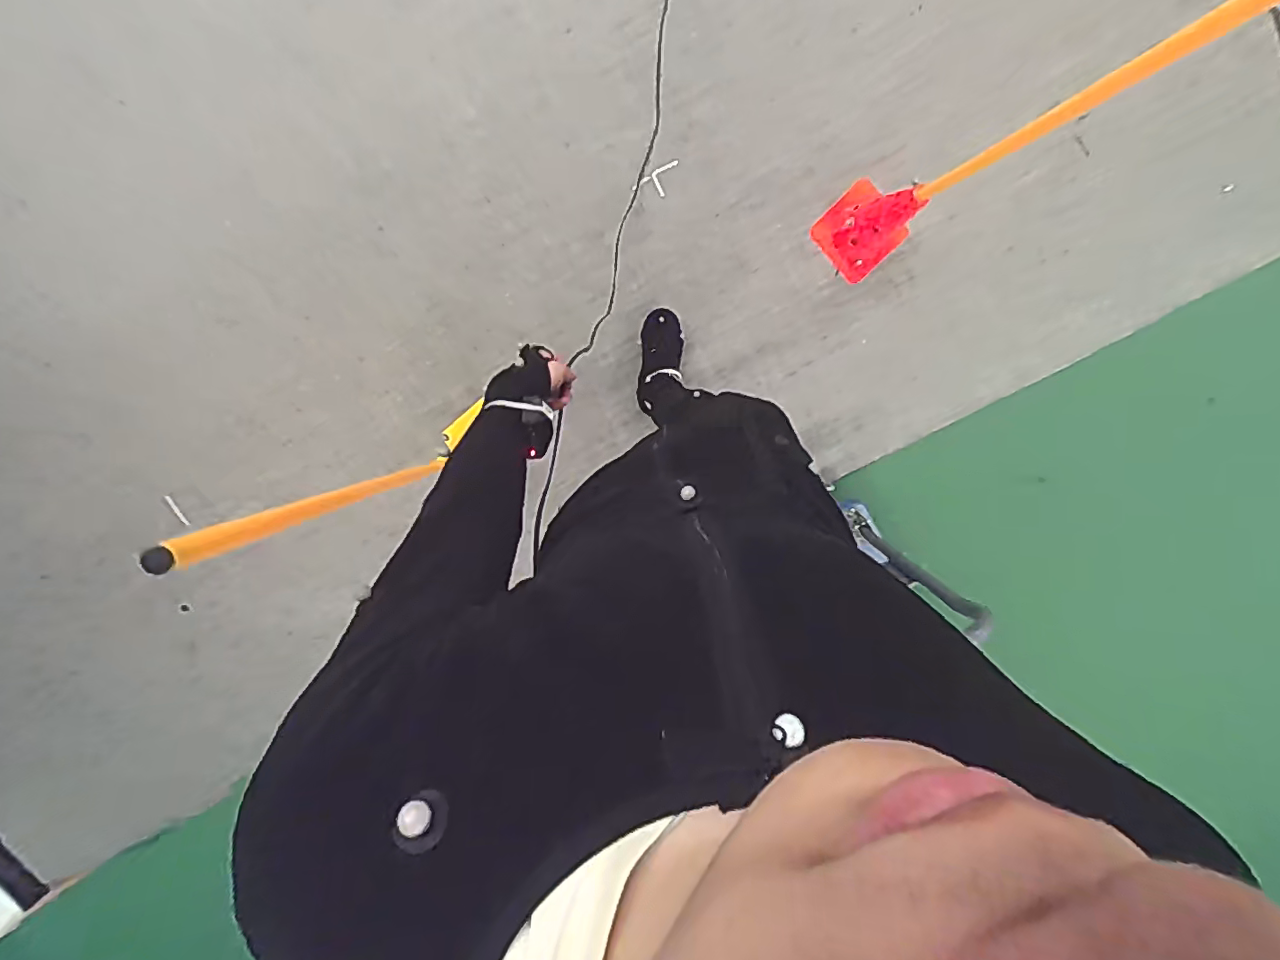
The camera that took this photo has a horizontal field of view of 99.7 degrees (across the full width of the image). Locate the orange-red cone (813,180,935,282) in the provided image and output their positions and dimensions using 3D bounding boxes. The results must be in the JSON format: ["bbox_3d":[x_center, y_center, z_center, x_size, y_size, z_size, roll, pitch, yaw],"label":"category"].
[{"bbox_3d":[0.587,-0.624,1.274,0.199,0.360,0.198,-42,100,8],"label":"orange-red cone"}]
